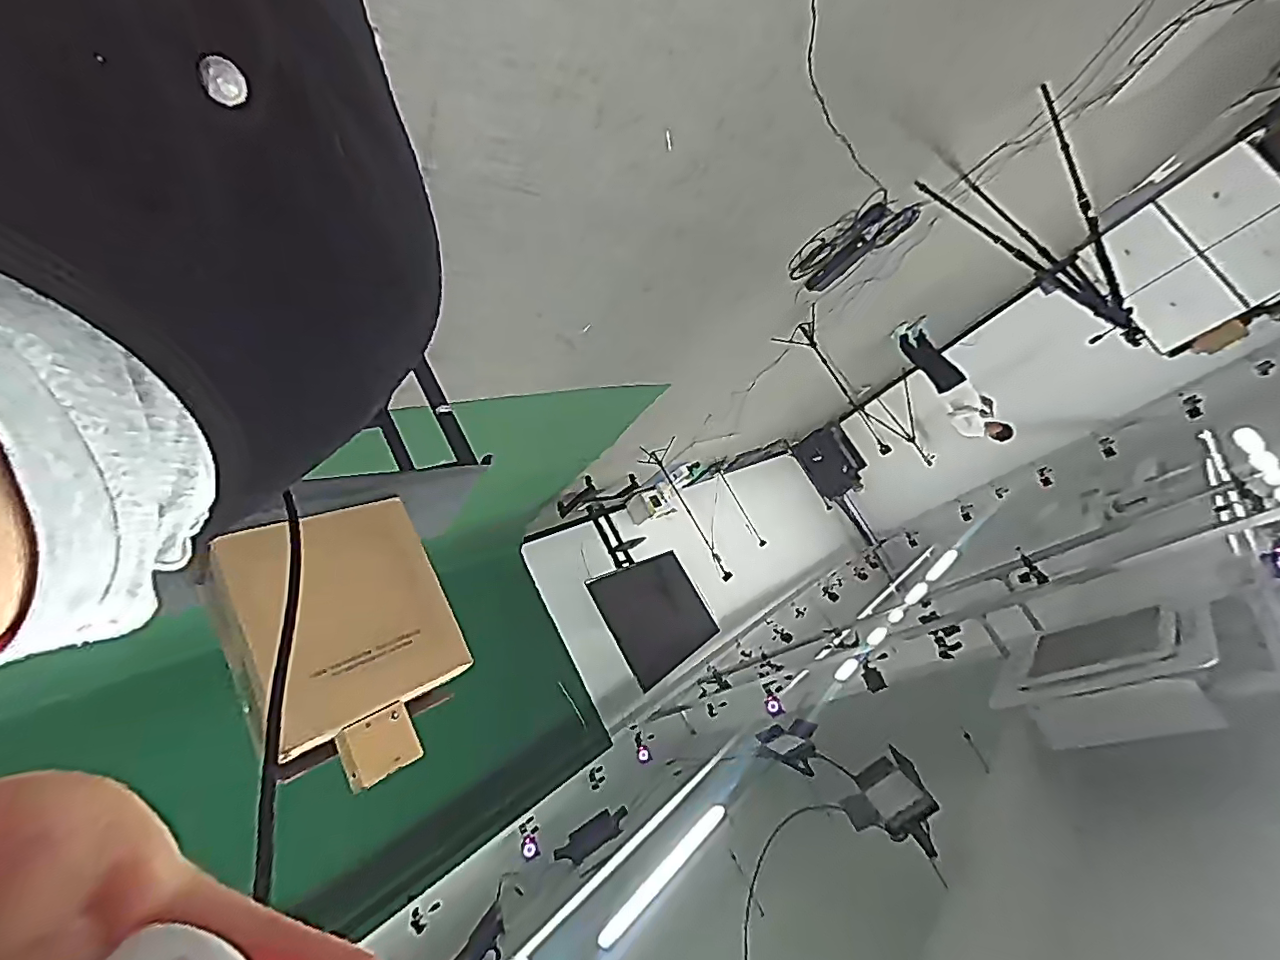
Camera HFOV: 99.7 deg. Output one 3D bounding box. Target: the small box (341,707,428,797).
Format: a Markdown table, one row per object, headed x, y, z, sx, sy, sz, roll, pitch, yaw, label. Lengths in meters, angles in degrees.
| x | y | z | sx | sy | sz | roll | pitch | yaw | label |
| --- | --- | --- | --- | --- | --- | --- | --- | --- | --- |
| -0.743 | 0.782 | 1.565 | 0.168 | 0.176 | 0.179 | -16 | 162 | -43 | small box |
